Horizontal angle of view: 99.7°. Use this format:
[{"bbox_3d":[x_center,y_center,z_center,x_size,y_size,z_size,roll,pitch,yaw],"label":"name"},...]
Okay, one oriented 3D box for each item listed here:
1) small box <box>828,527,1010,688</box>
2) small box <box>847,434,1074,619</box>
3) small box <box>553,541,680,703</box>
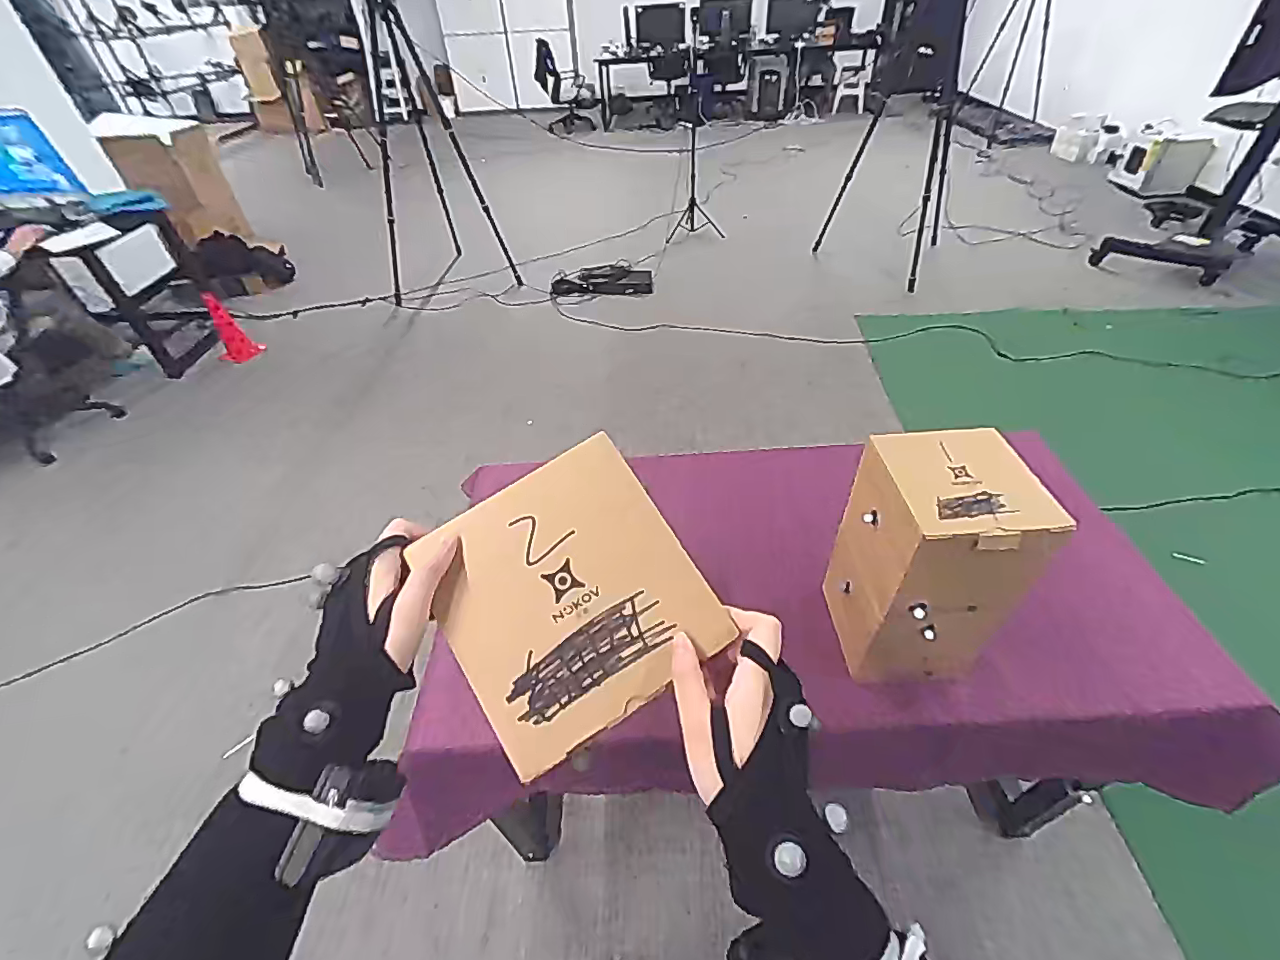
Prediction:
[{"bbox_3d":[0.392,0.184,0.801,0.168,0.176,0.179,-4,42,2],"label":"small box"},{"bbox_3d":[0.384,0.063,0.689,0.168,0.176,0.179,-3,43,1],"label":"small box"},{"bbox_3d":[-0.027,0.212,0.808,0.168,0.176,0.179,-3,44,2],"label":"small box"}]
